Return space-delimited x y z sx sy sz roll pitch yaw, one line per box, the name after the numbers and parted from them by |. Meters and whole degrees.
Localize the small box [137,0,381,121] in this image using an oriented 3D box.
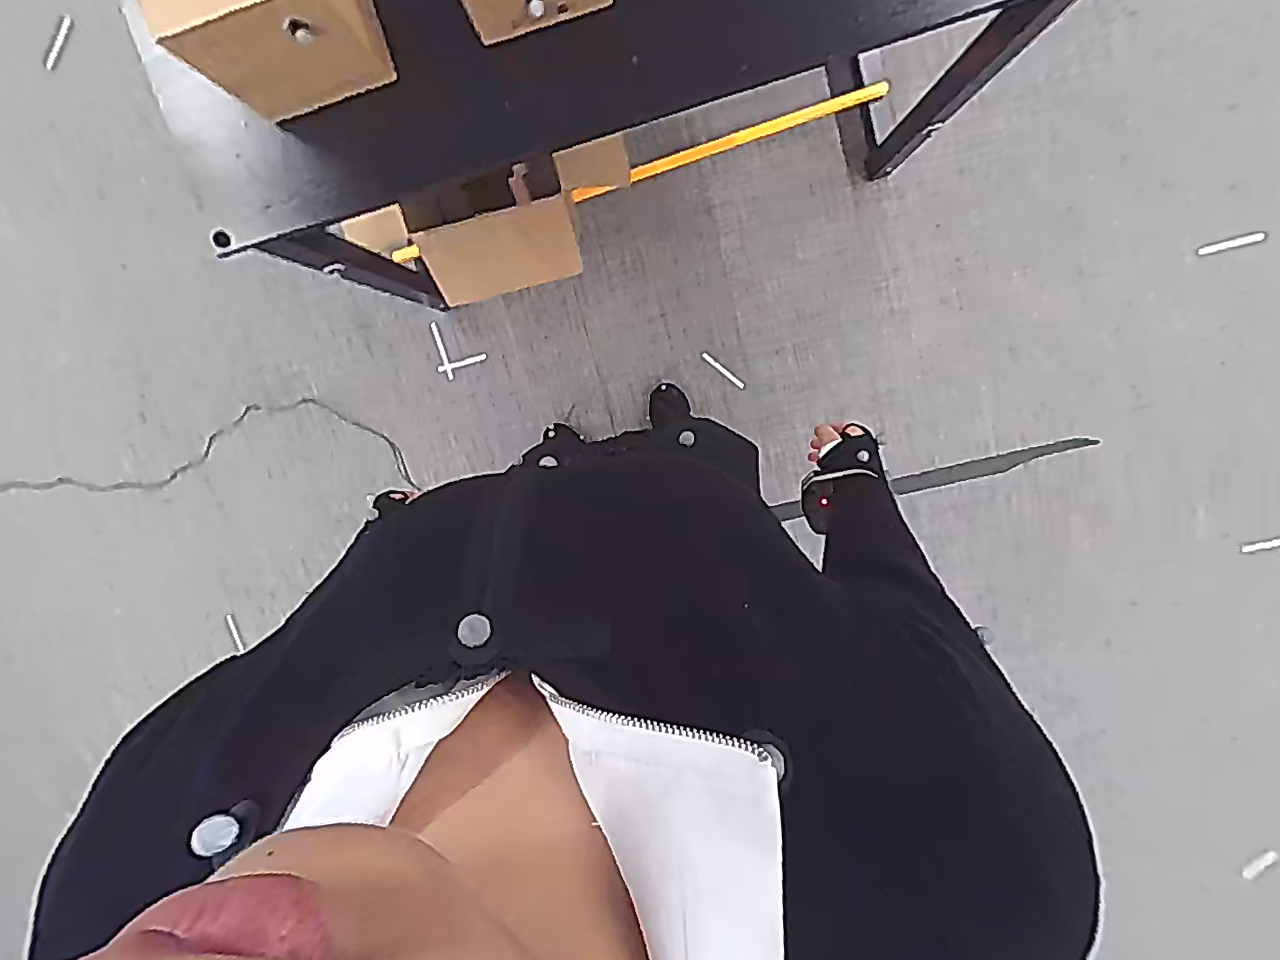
-0.414 -0.537 0.590 0.179 0.176 0.168 -16 98 4 | small box

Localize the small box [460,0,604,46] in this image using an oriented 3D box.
-0.141 -0.620 0.569 0.168 0.176 0.179 -14 99 4 | small box
